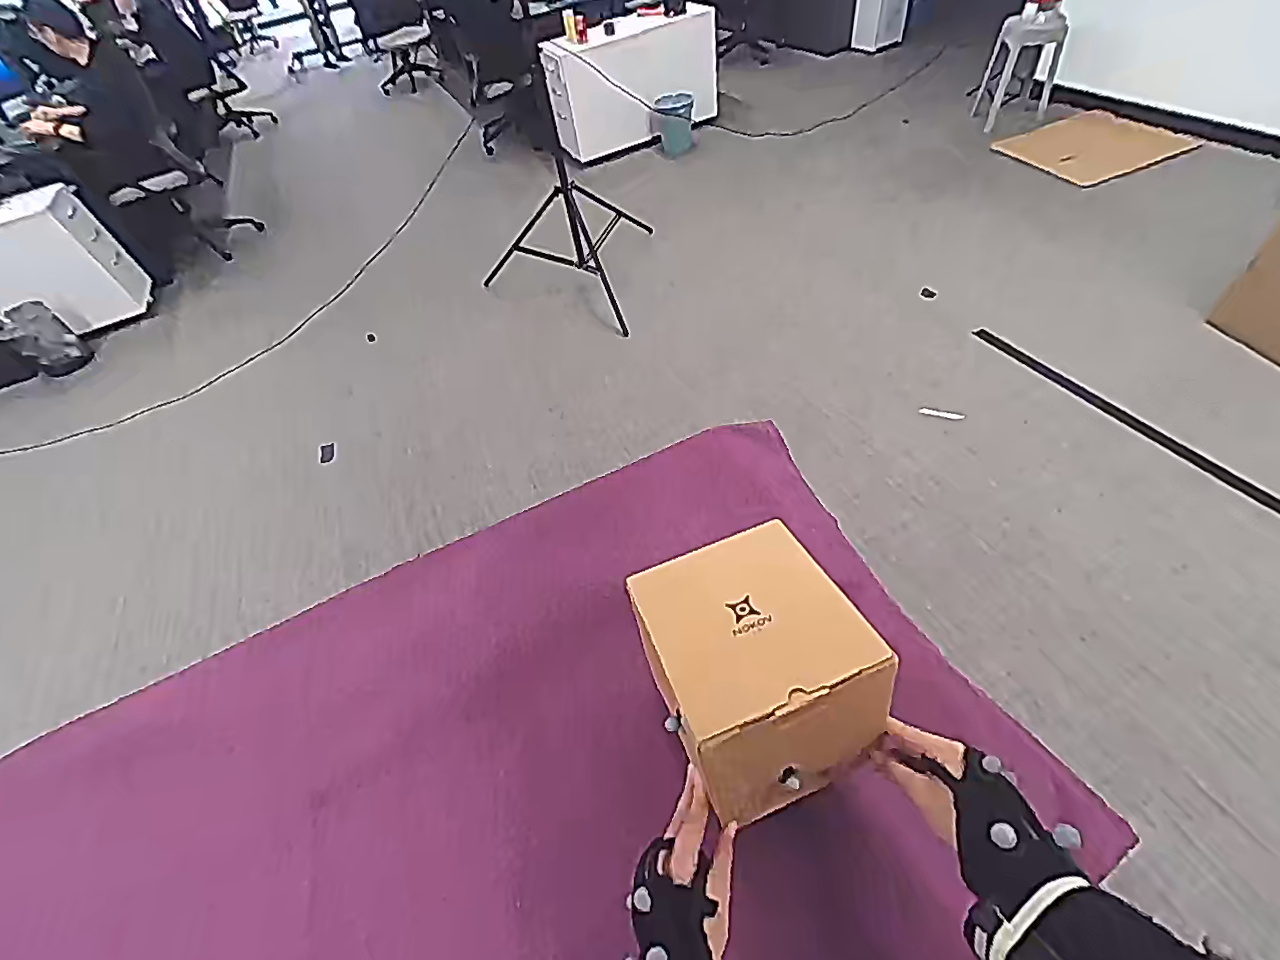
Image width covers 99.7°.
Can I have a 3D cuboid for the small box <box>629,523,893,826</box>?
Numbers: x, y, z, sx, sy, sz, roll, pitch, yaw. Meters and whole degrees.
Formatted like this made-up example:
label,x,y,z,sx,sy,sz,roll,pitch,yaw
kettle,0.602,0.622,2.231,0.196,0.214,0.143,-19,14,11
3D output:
label,x,y,z,sx,sy,sz,roll,pitch,yaw
small box,0.103,0.177,0.508,0.168,0.176,0.179,-21,38,-8
